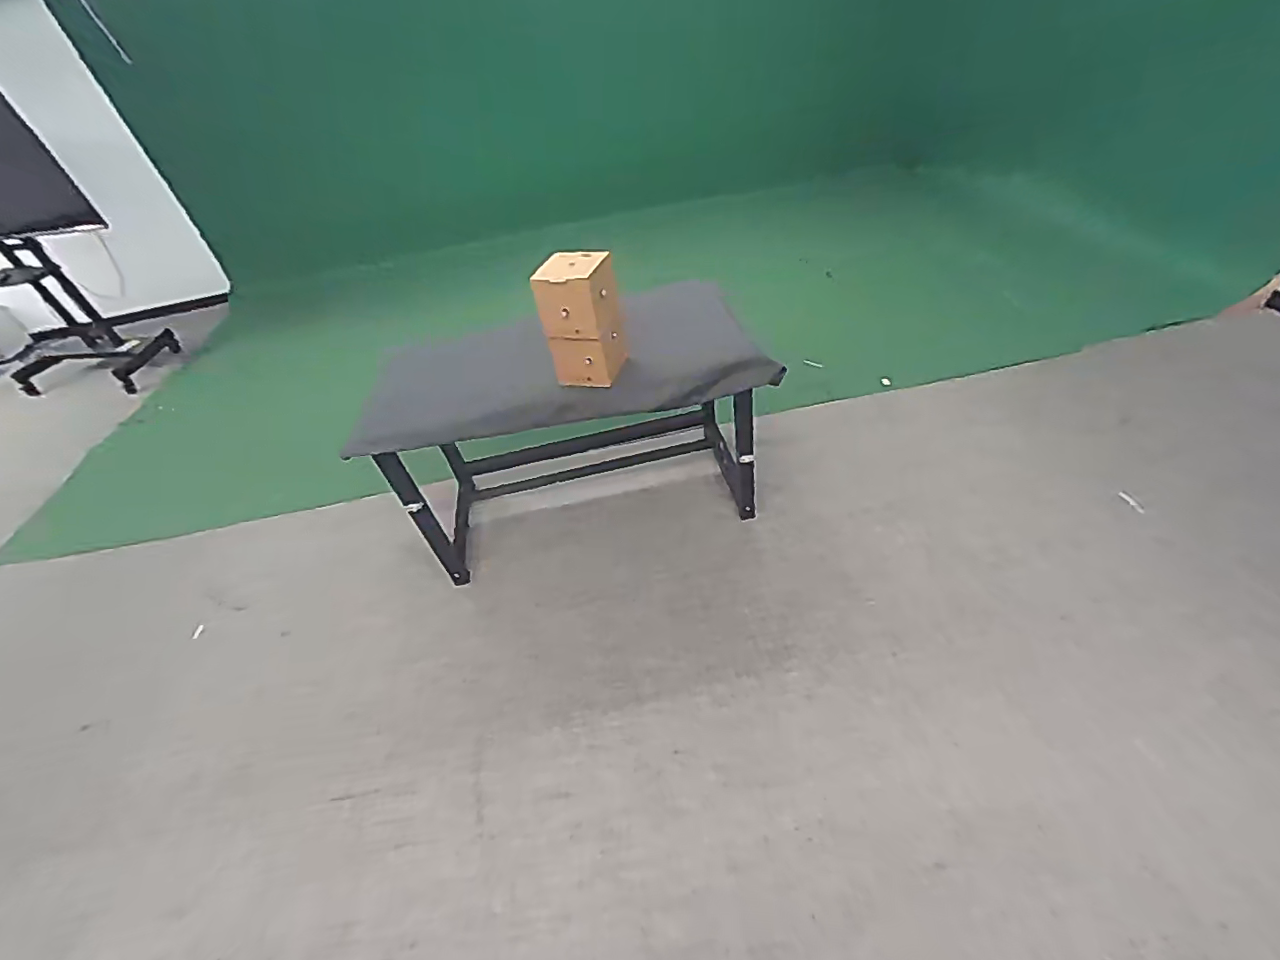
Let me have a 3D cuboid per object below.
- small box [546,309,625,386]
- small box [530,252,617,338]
[{"bbox_3d":[-0.153,-0.392,1.597,0.168,0.176,0.179,7,44,17],"label":"small box"},{"bbox_3d":[-0.173,-0.503,1.477,0.168,0.176,0.179,7,46,17],"label":"small box"}]
